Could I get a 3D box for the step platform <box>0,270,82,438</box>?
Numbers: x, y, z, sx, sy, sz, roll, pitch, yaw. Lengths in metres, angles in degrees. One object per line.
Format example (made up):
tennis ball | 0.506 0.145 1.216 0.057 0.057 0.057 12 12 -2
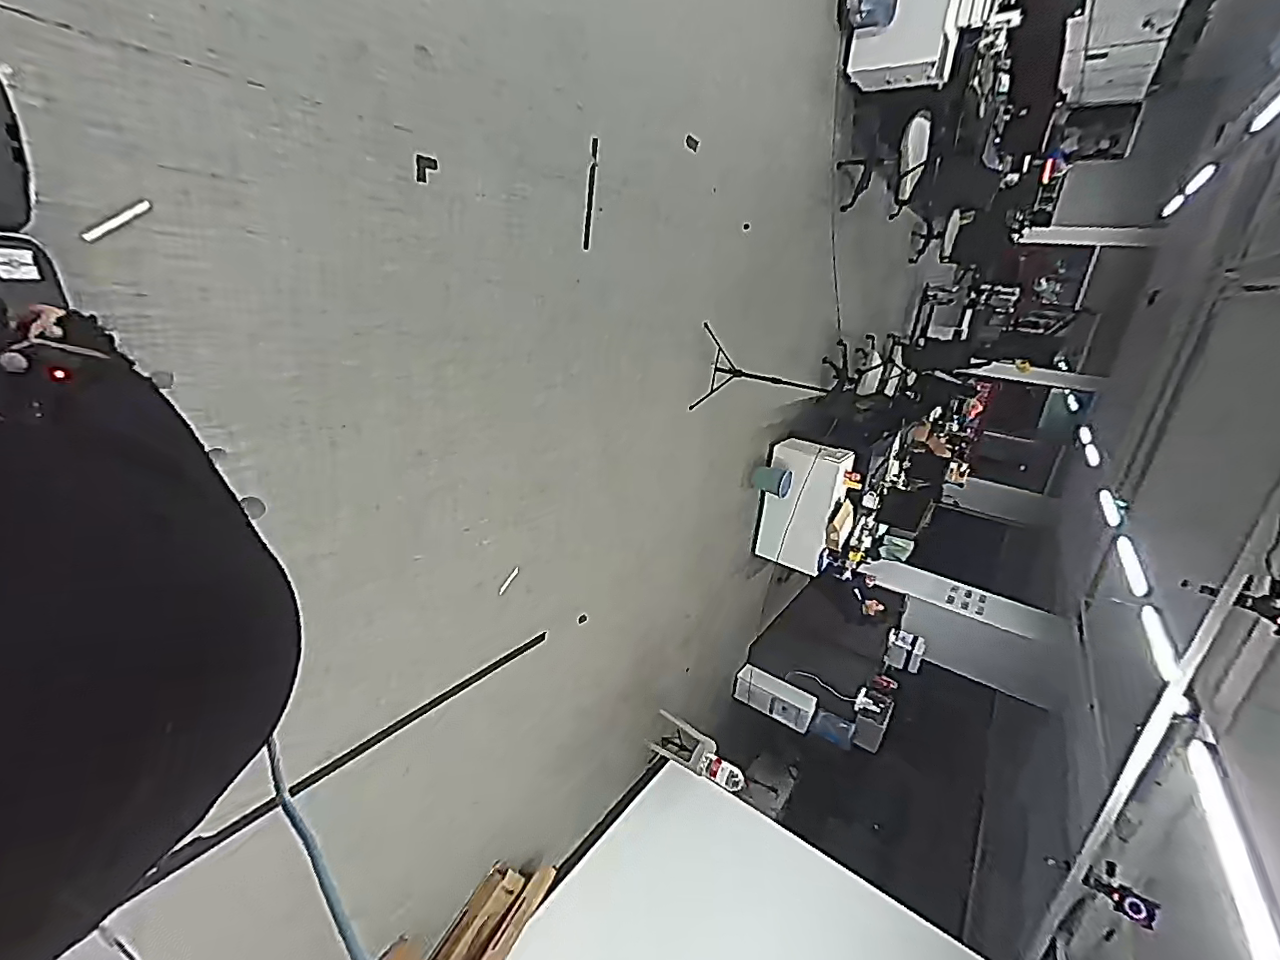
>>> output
step platform | -1.283 -0.194 0.768 0.684 0.204 0.286 -12 114 -52
